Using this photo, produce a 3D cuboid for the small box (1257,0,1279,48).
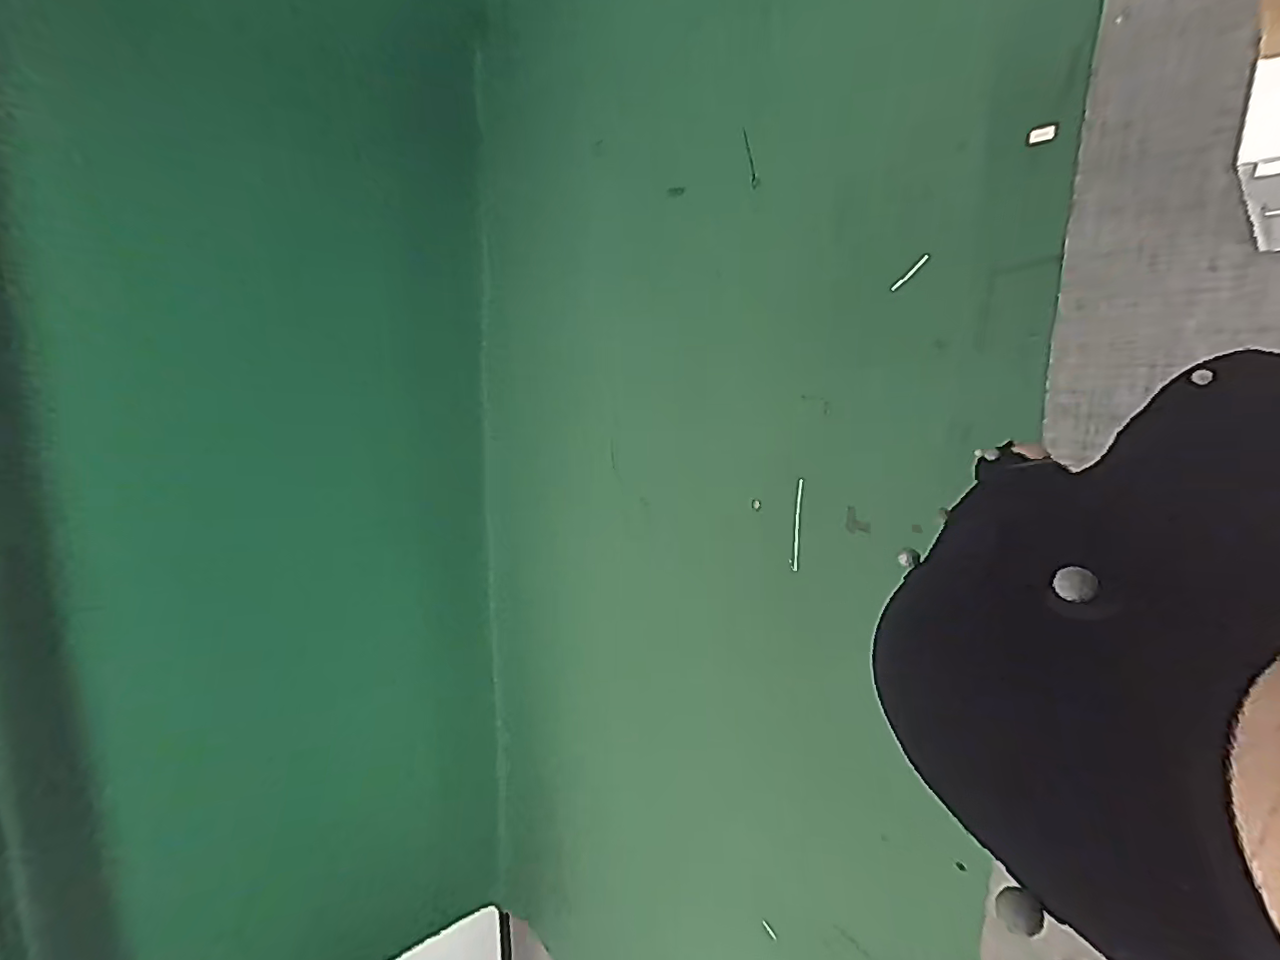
[{"bbox_3d":[0.677,-0.526,0.467,0.179,0.176,0.168,13,106,49],"label":"small box"}]
